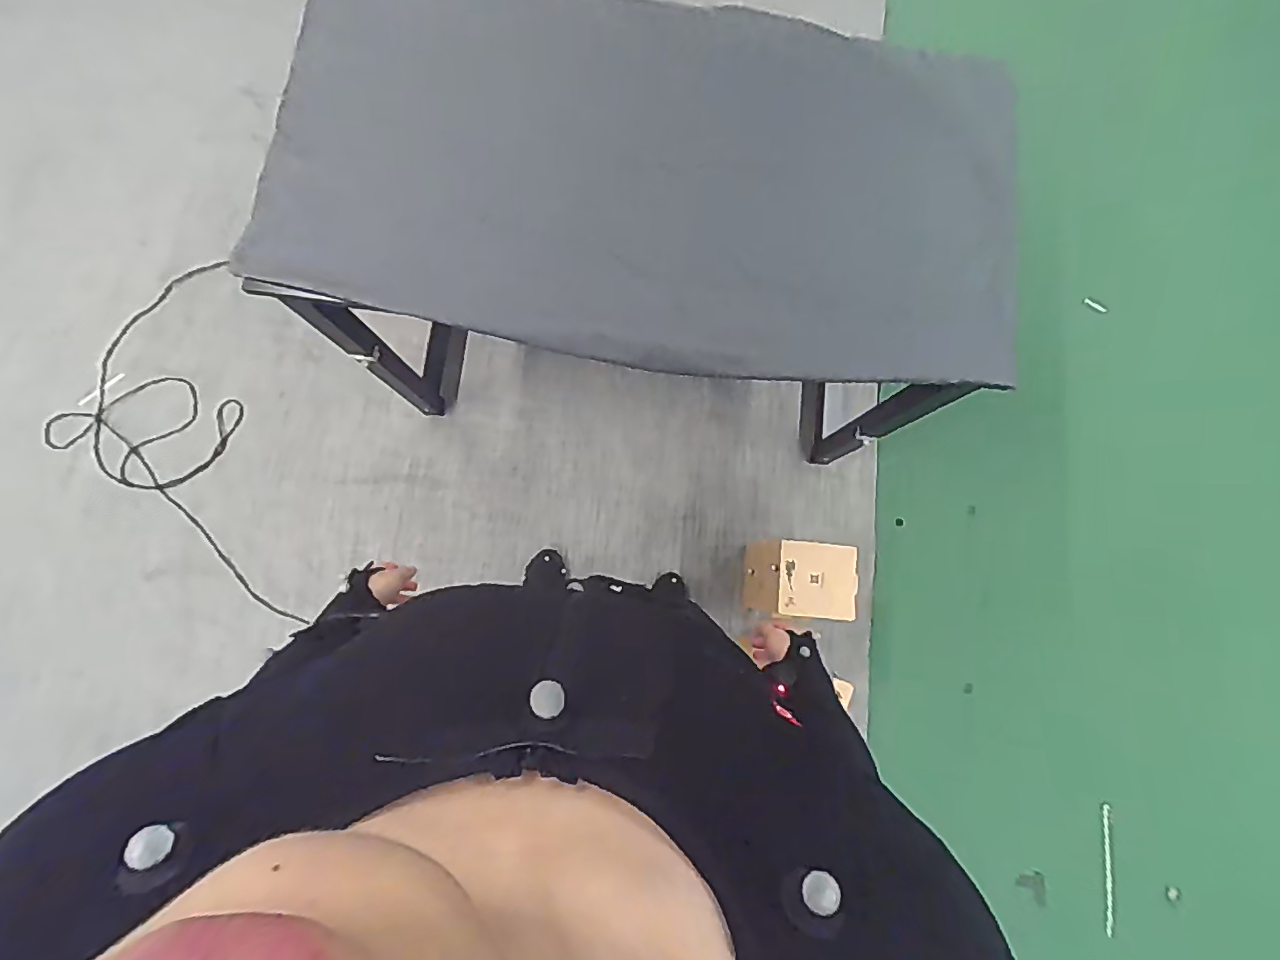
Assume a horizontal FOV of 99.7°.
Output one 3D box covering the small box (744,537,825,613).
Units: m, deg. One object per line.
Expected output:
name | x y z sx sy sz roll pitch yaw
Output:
small box | 0.376 0.250 1.430 0.168 0.176 0.179 5 80 -2

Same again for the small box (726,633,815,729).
small box | 0.327 0.507 1.388 0.168 0.176 0.179 15 81 0
